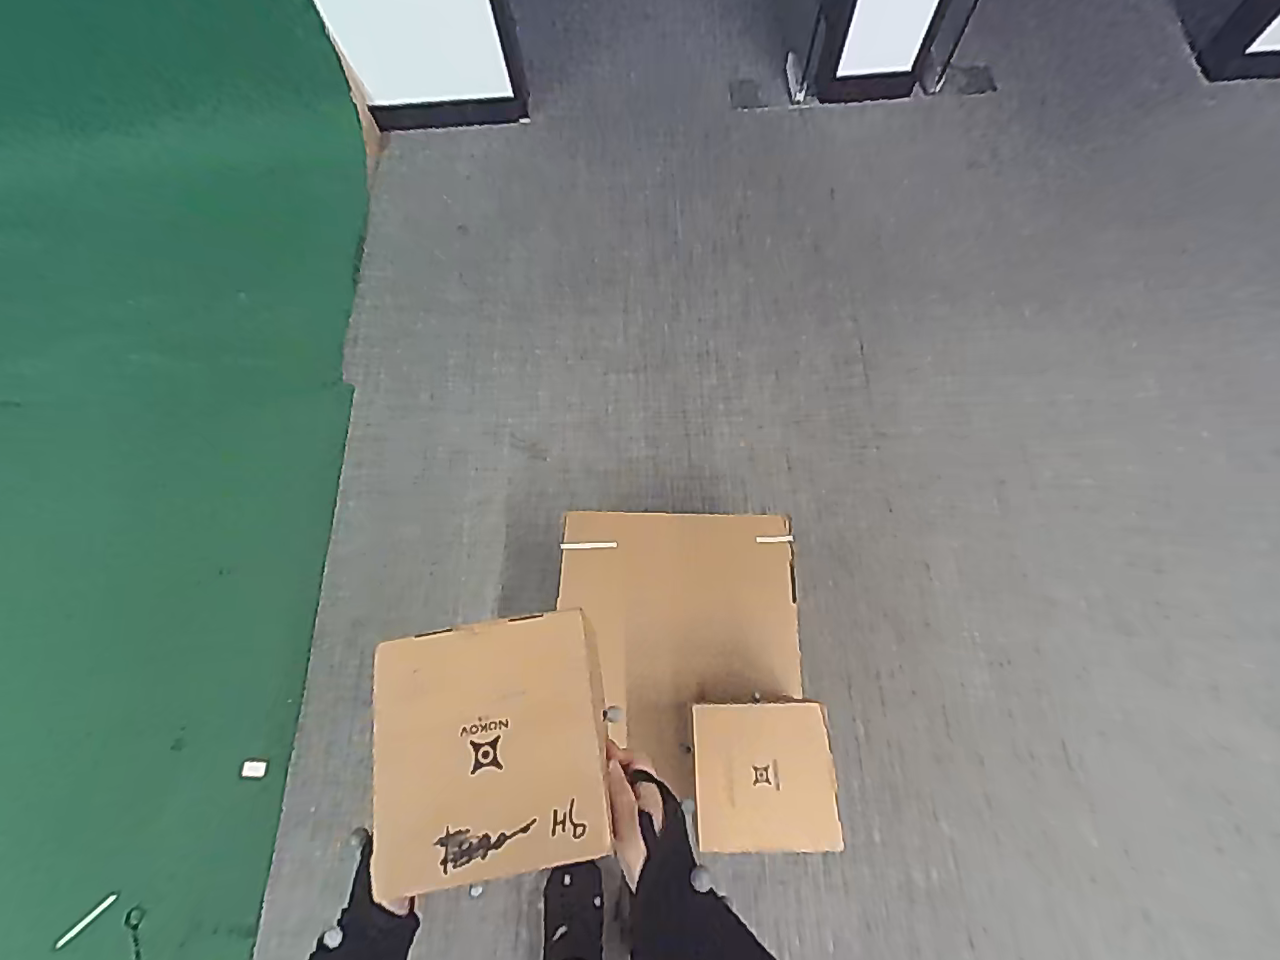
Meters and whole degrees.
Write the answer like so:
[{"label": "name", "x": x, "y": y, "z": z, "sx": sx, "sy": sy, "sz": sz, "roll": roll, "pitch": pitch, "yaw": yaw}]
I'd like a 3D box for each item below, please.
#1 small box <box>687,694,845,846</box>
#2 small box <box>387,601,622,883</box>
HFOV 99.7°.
[{"label": "small box", "x": 0.160, "y": 0.388, "z": 0.749, "sx": 0.179, "sy": 0.176, "sz": 0.168, "roll": -2, "pitch": 69, "yaw": 1}, {"label": "small box", "x": -0.109, "y": 0.221, "z": 0.485, "sx": 0.168, "sy": 0.176, "sz": 0.179, "roll": -8, "pitch": 68, "yaw": -4}]
